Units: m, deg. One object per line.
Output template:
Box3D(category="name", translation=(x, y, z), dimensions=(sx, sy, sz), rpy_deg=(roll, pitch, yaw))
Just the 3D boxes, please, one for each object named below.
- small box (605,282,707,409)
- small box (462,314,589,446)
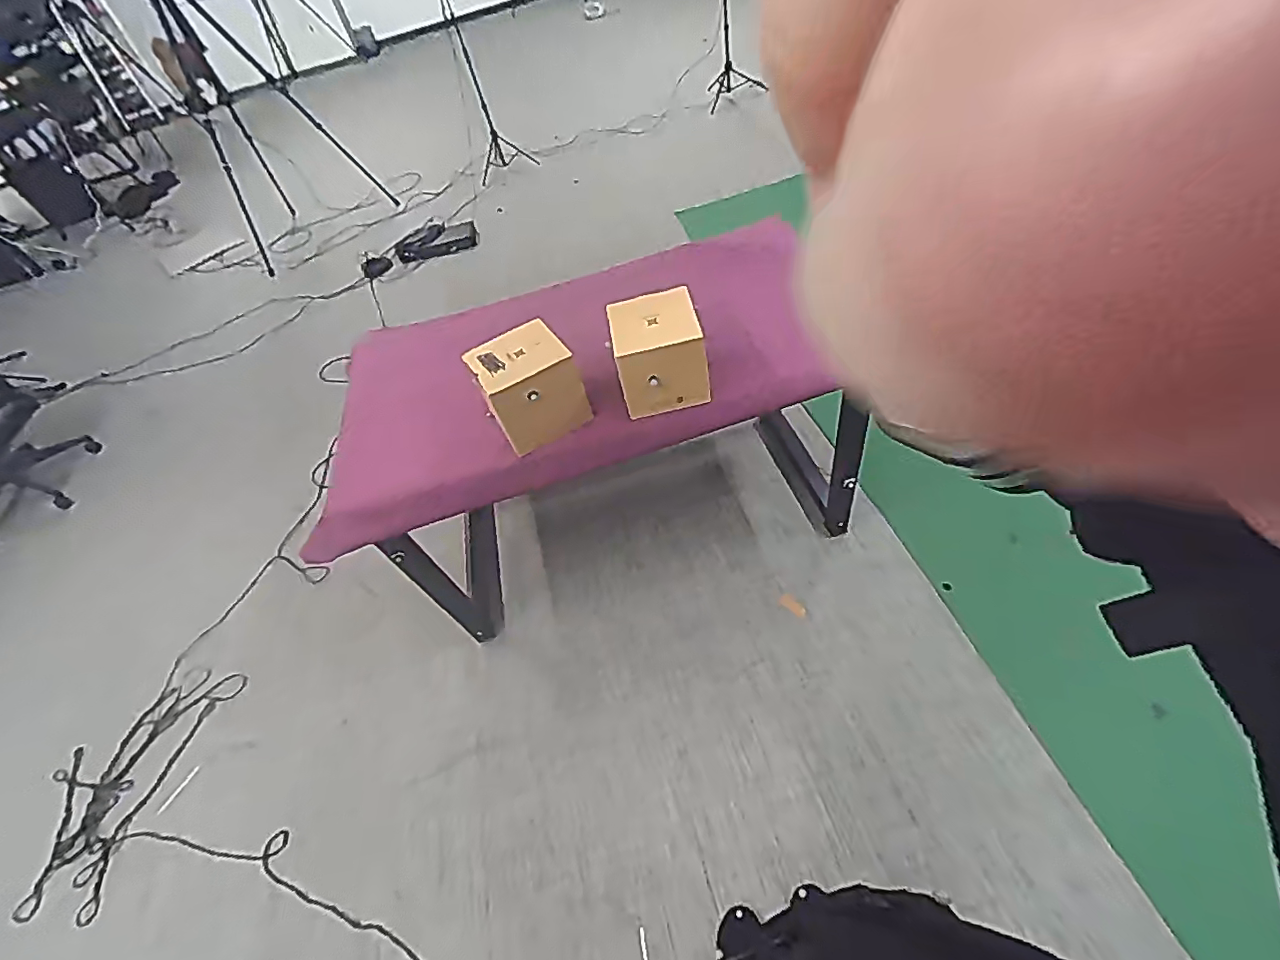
Box3D(category="small box", translation=(0.034, -0.262, 1.086), dimensions=(0.168, 0.176, 0.179), rpy_deg=(-13, 50, 3))
Box3D(category="small box", translation=(-0.226, -0.198, 1.092), dimensions=(0.179, 0.176, 0.168), rpy_deg=(-29, 51, -12))
